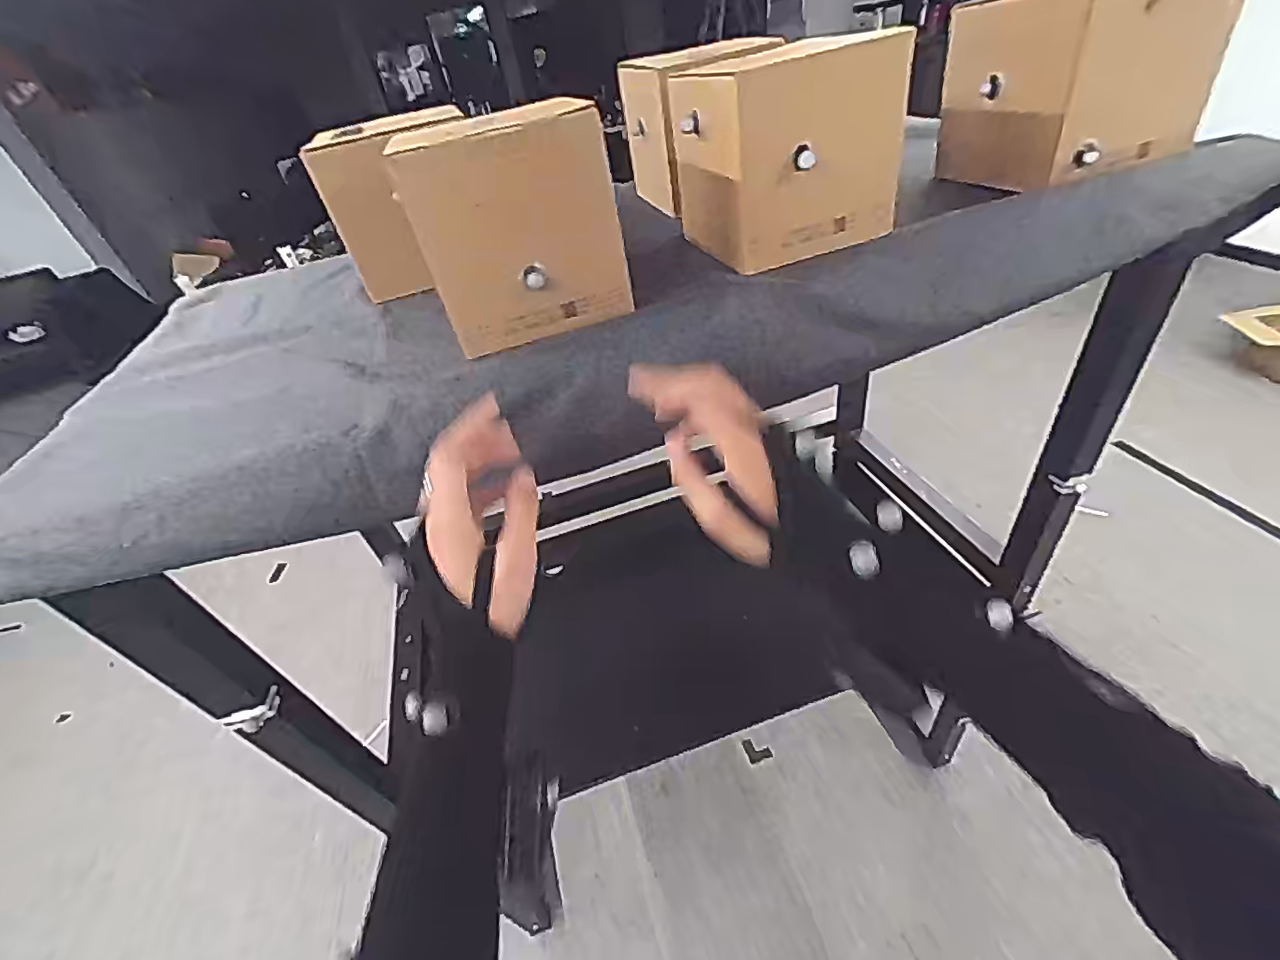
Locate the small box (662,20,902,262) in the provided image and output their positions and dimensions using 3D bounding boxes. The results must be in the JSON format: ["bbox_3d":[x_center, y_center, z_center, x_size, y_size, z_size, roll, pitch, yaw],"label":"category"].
[{"bbox_3d":[0.137,-0.340,0.557,0.168,0.176,0.179,-18,38,-7],"label":"small box"}]

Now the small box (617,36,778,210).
[{"bbox_3d":[0.079,-0.492,0.753,0.168,0.176,0.179,-19,39,-7],"label":"small box"}]

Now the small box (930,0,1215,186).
[{"bbox_3d":[0.441,-0.425,0.572,0.168,0.176,0.179,-17,36,-5],"label":"small box"}]
